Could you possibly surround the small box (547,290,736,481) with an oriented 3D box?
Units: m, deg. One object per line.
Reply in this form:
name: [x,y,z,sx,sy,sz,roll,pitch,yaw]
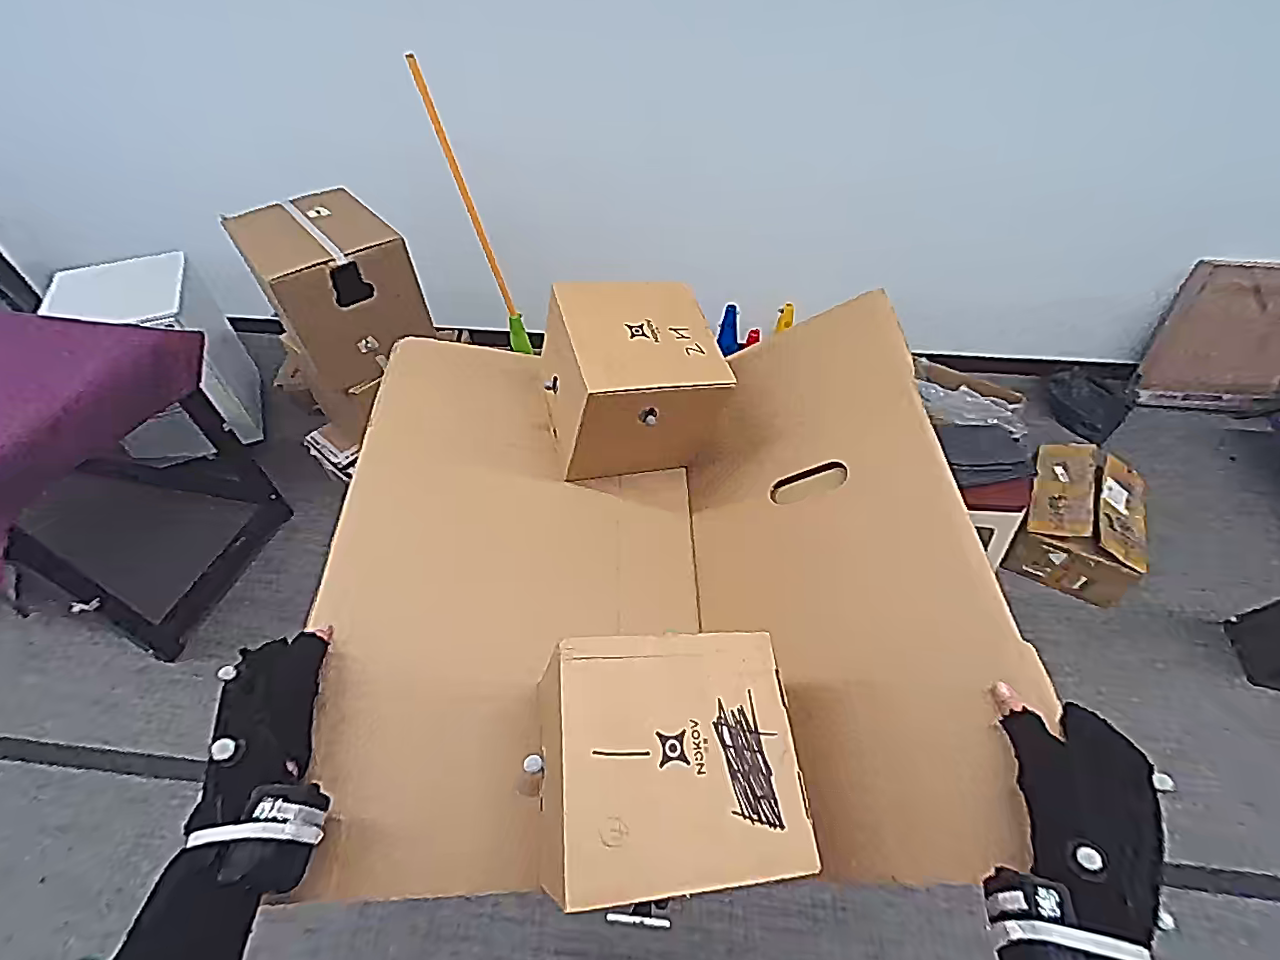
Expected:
small box: [-0.014,-0.111,0.669,0.179,0.176,0.168,-6,61,-21]
